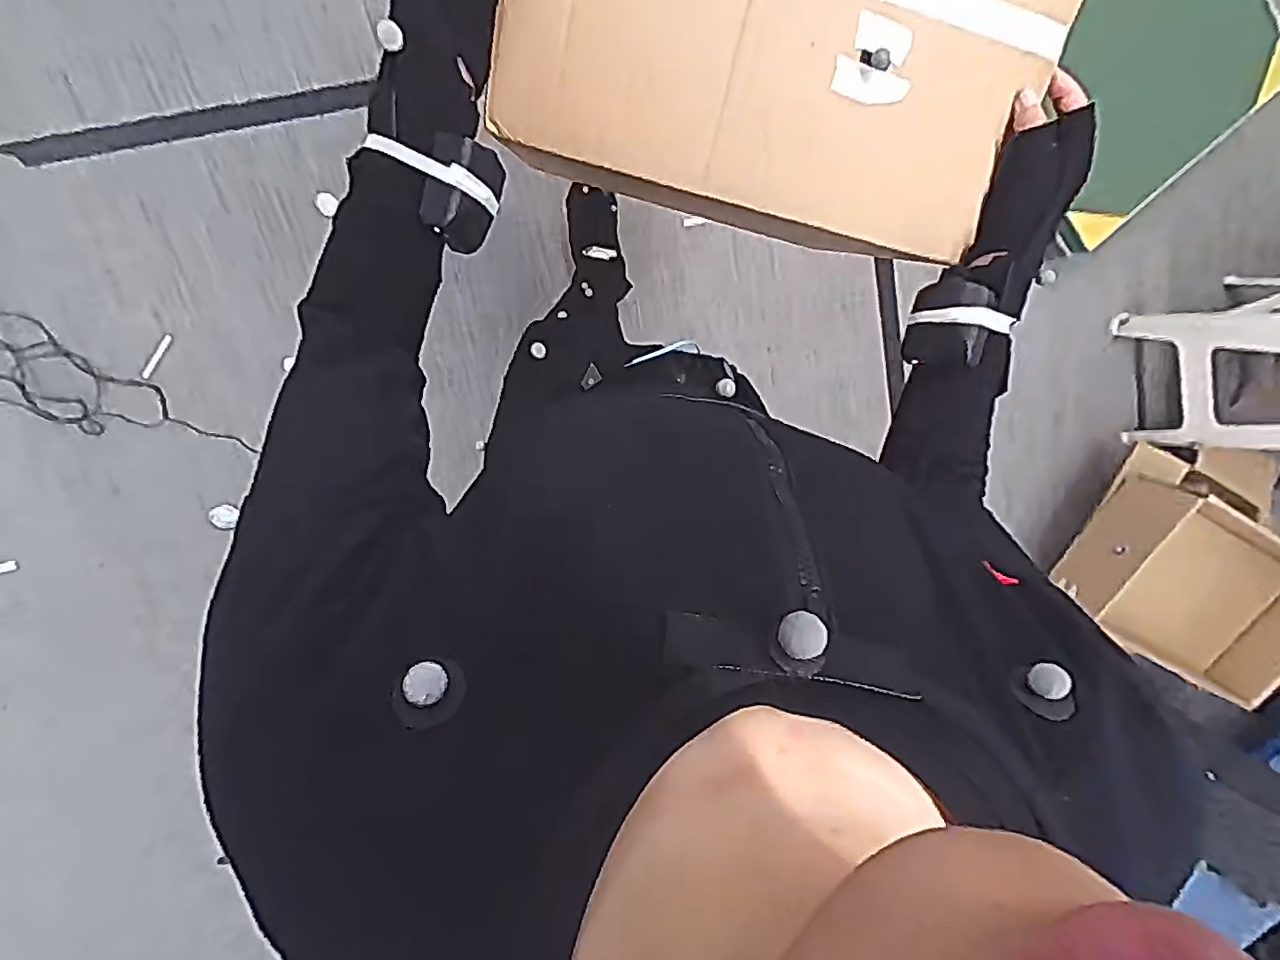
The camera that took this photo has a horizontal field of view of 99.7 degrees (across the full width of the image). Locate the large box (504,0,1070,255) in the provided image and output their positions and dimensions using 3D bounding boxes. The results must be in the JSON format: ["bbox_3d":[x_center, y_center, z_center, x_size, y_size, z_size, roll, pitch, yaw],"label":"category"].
[{"bbox_3d":[0.106,-0.431,0.515,0.408,0.320,0.320,10,116,-11],"label":"large box"}]
